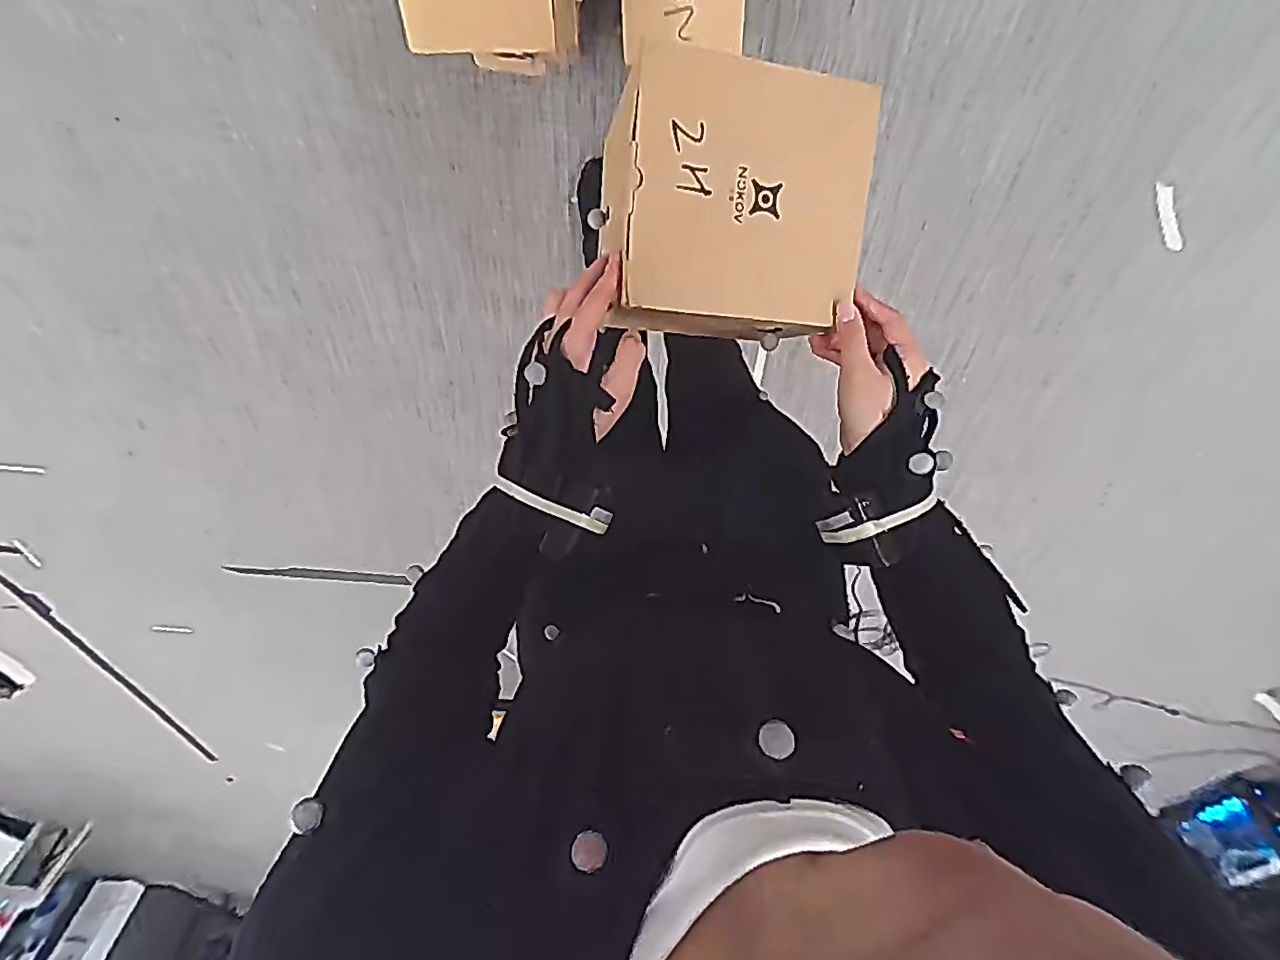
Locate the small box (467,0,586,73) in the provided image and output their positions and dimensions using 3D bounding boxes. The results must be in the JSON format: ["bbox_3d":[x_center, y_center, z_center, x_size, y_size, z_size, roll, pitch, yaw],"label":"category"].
[{"bbox_3d":[-0.166,-0.703,0.767,0.168,0.176,0.179,6,130,-2],"label":"small box"}]

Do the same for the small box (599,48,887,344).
[{"bbox_3d":[0.067,-0.207,0.451,0.179,0.176,0.168,2,100,-12],"label":"small box"}]

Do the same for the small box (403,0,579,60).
[{"bbox_3d":[-0.174,-0.603,0.639,0.179,0.176,0.168,0,131,2],"label":"small box"}]
